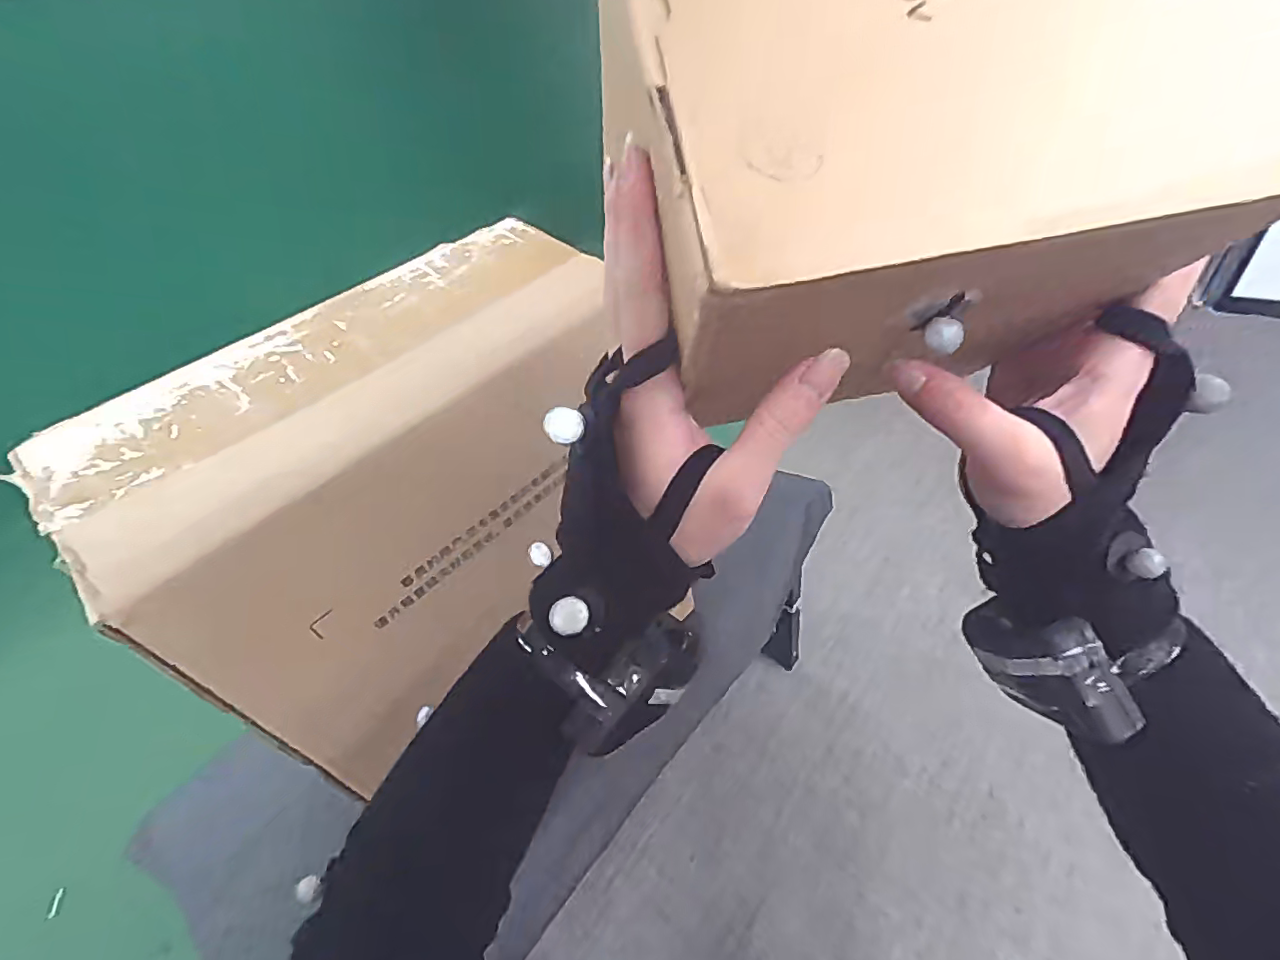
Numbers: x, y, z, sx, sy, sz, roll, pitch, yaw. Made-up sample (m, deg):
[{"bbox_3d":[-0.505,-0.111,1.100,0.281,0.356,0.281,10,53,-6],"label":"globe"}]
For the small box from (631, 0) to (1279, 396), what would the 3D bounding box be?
[{"bbox_3d":[0.093,-0.144,0.222,0.179,0.176,0.168,-10,83,-5],"label":"small box"}]
